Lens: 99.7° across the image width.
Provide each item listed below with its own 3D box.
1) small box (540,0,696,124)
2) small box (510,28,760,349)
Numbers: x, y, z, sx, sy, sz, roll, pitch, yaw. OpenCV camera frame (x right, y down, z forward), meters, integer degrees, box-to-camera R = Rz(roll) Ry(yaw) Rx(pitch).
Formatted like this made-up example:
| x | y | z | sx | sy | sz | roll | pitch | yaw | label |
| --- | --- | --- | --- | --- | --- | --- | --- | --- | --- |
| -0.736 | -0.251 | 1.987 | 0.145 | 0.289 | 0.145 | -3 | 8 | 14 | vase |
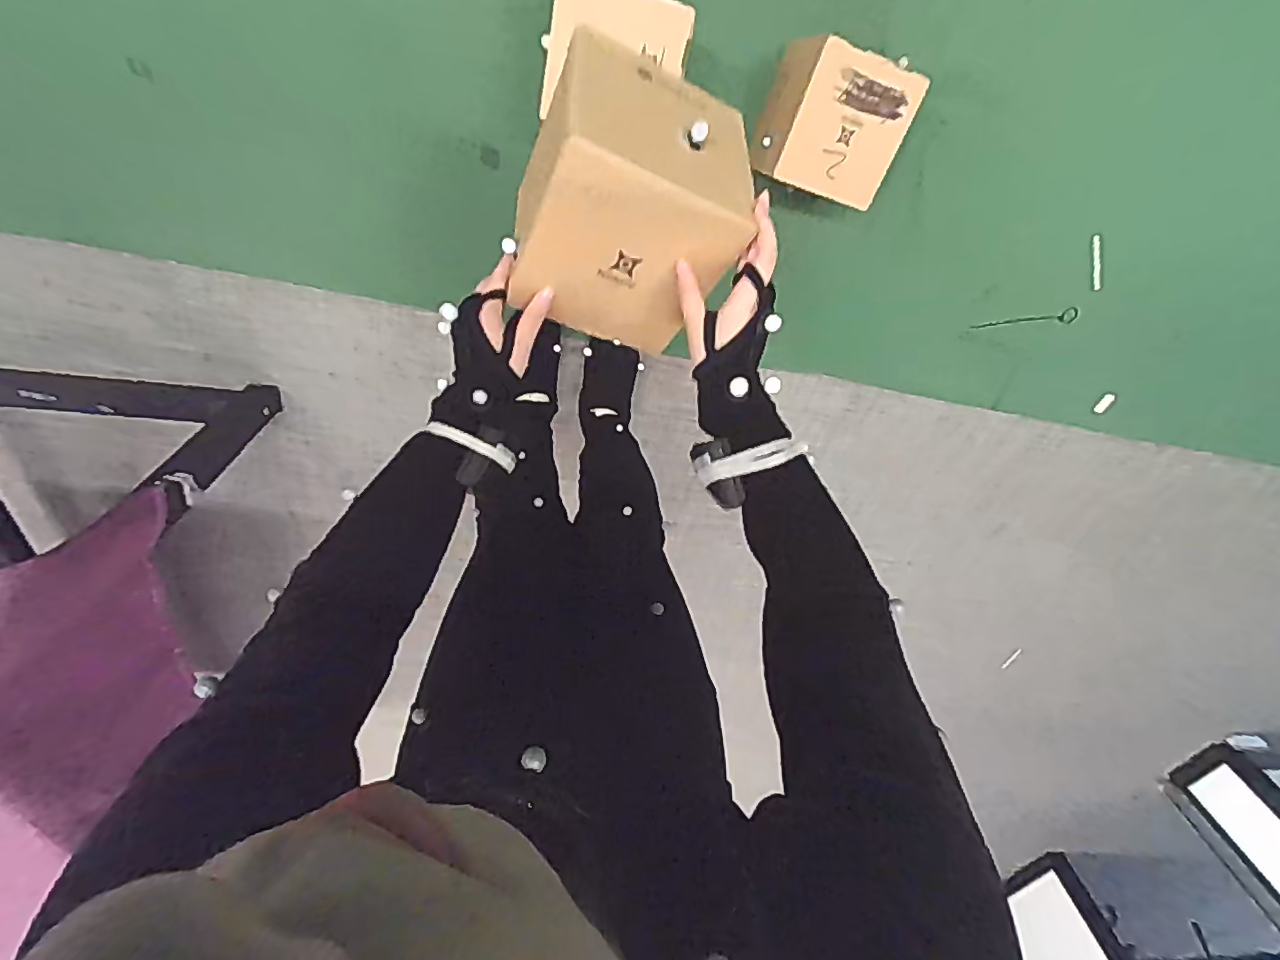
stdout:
| x | y | z | sx | sy | sz | roll | pitch | yaw | label |
| --- | --- | --- | --- | --- | --- | --- | --- | --- | --- |
| -0.037 | -0.581 | 0.772 | 0.179 | 0.176 | 0.168 | 10 | 124 | -12 | small box |
| -0.014 | -0.261 | 0.508 | 0.168 | 0.176 | 0.179 | 13 | 151 | -24 | small box |
